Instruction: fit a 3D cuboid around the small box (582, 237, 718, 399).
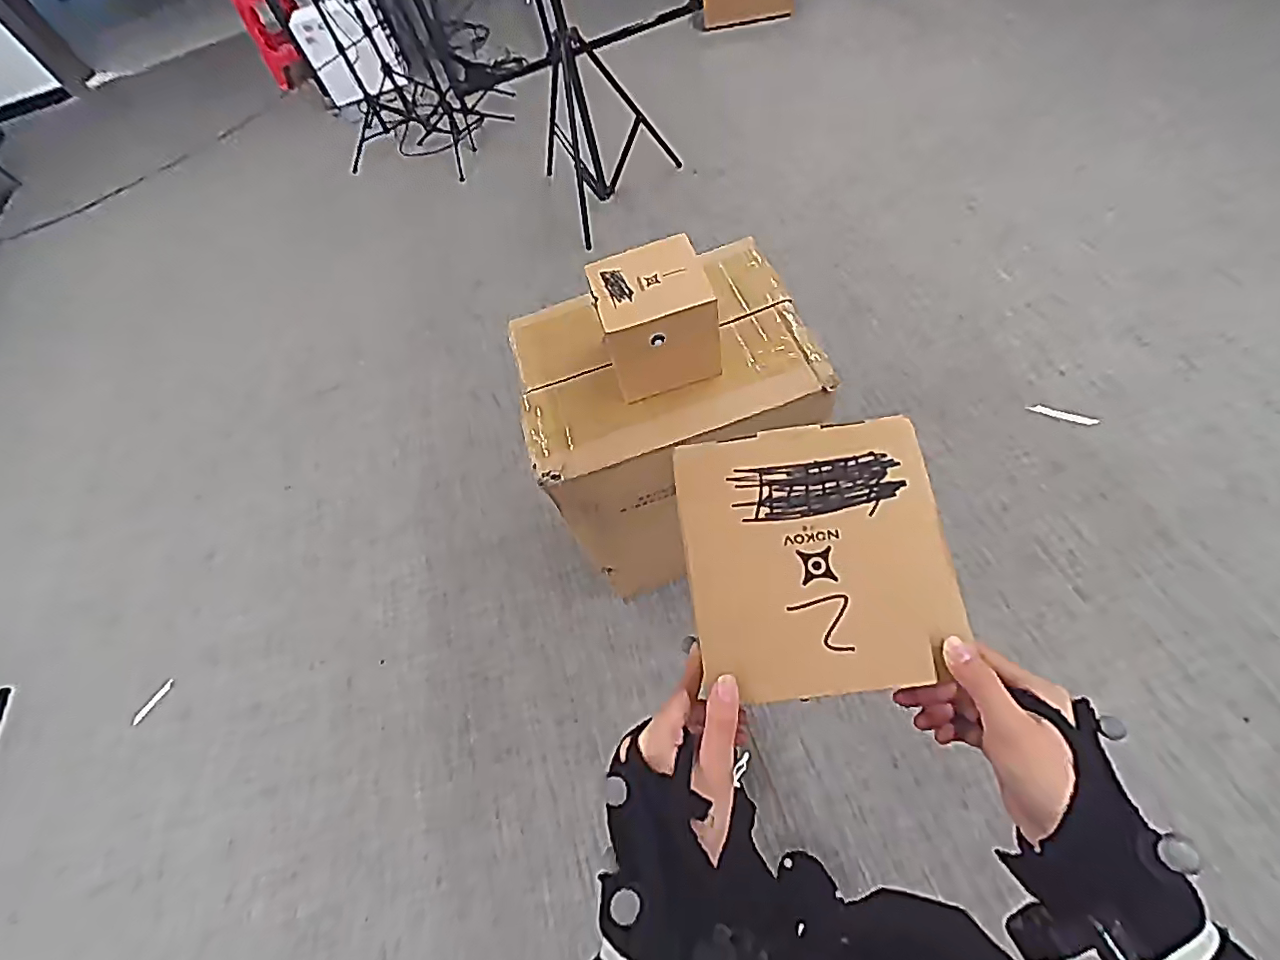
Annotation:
[{"bbox_3d":[0.021,-0.261,0.900,0.179,0.176,0.168,-18,59,1],"label":"small box"}]
